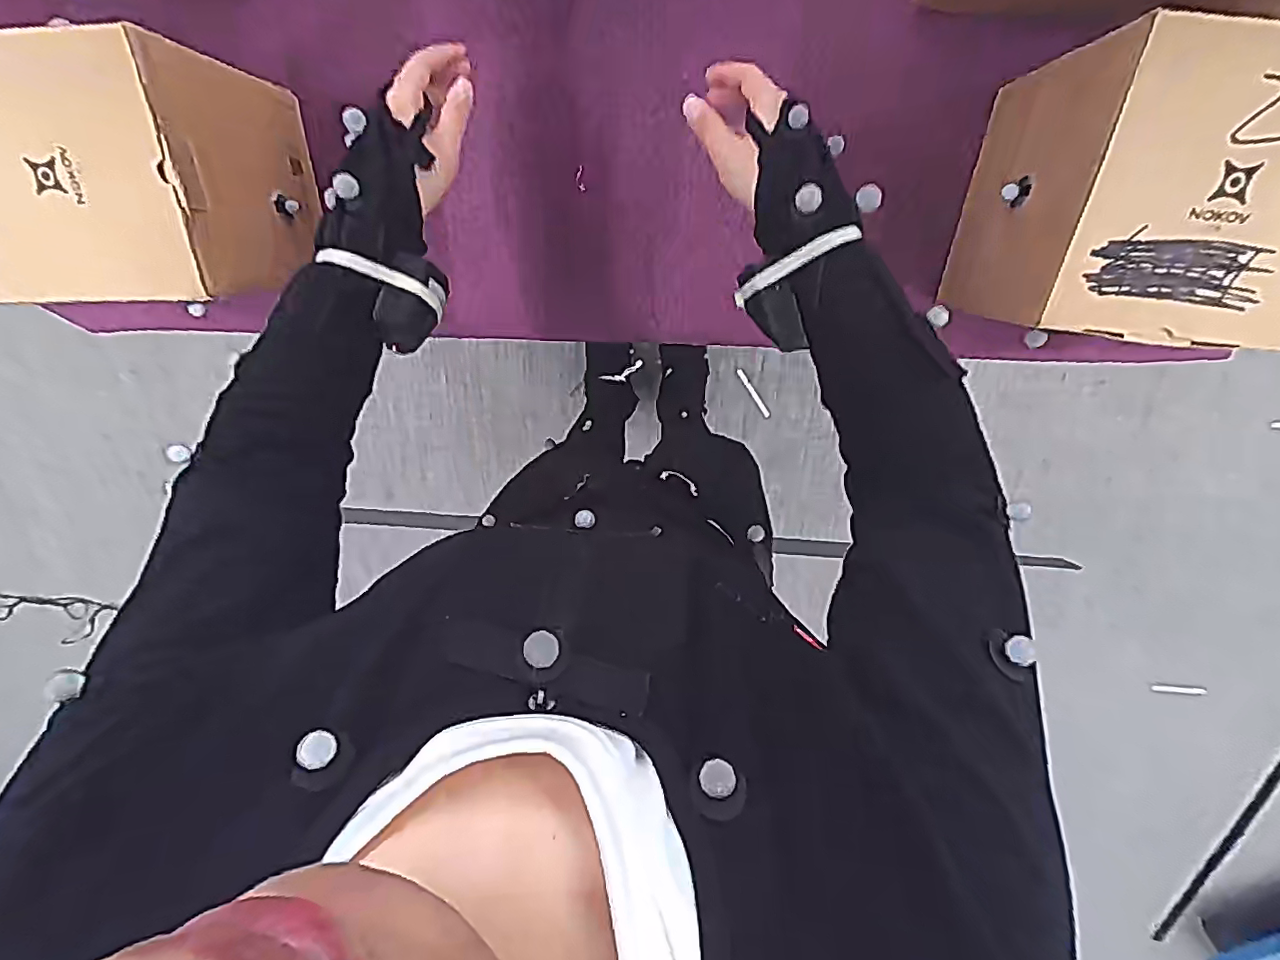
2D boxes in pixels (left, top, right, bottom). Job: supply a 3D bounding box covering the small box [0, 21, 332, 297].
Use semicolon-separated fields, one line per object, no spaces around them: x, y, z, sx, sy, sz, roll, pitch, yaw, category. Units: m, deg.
-0.400;-0.241;0.447;0.179;0.176;0.168;-1;112;3;small box
